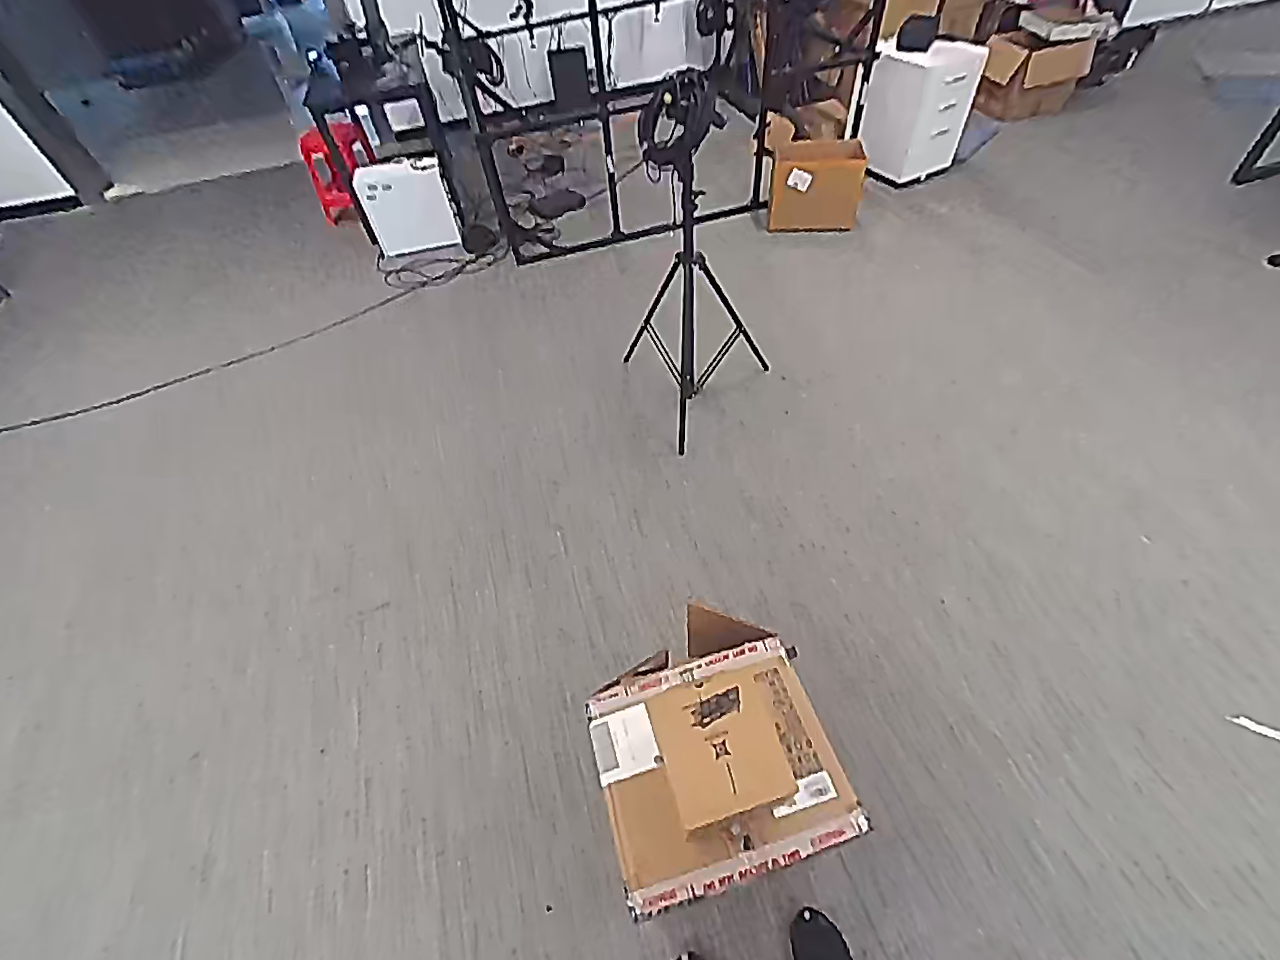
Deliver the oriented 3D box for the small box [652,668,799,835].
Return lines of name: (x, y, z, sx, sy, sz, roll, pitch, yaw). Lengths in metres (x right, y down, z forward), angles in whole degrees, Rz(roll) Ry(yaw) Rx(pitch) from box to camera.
small box: (0.120, 0.420, 0.833, 0.168, 0.176, 0.179, -15, 54, -6)
